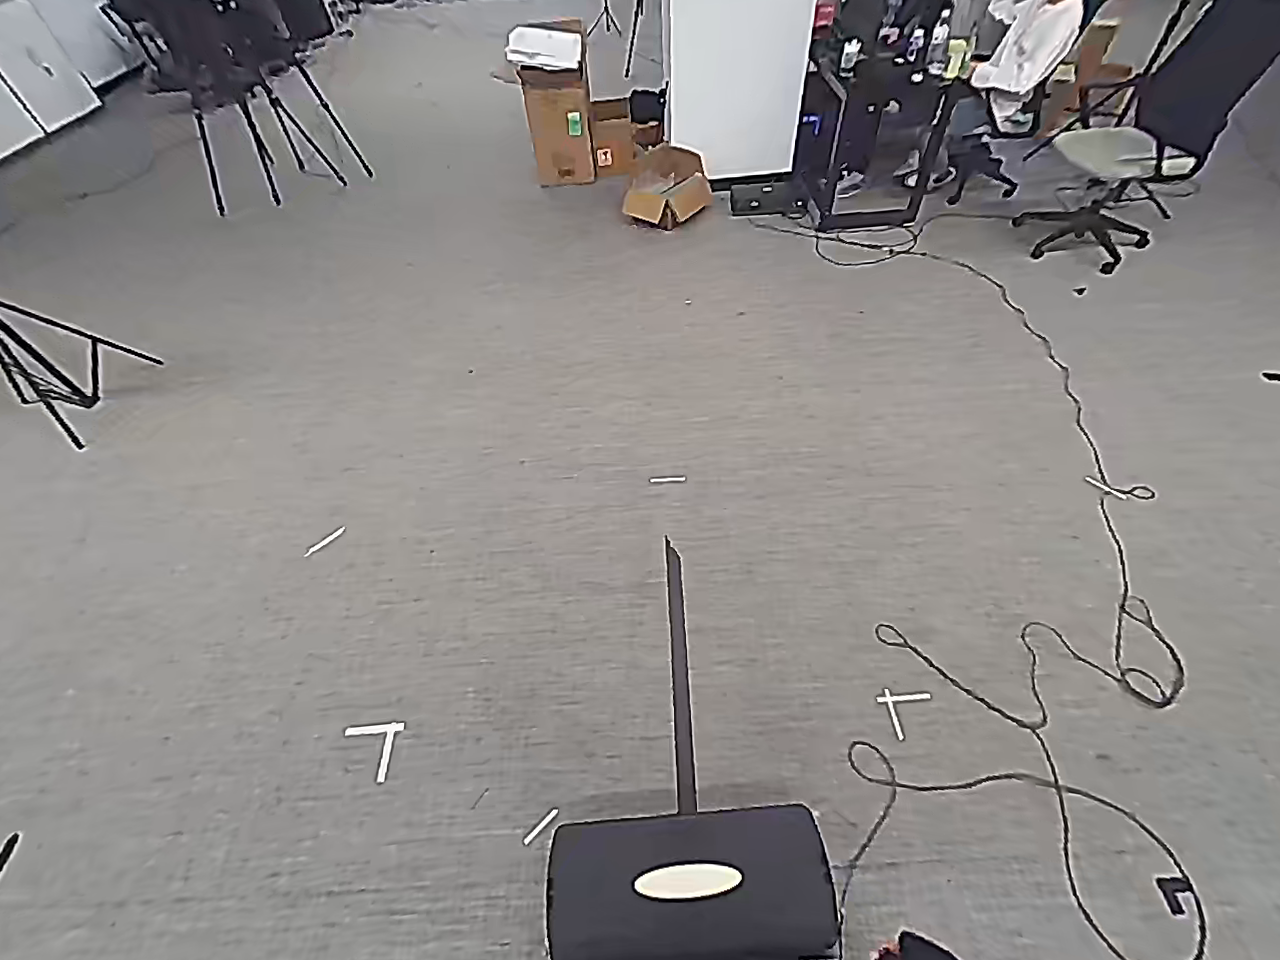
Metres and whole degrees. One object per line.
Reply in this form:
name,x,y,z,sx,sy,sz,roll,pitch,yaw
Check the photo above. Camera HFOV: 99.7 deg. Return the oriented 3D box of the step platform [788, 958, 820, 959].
step platform,0.093,1.160,1.072,0.684,0.204,0.286,-6,50,2
